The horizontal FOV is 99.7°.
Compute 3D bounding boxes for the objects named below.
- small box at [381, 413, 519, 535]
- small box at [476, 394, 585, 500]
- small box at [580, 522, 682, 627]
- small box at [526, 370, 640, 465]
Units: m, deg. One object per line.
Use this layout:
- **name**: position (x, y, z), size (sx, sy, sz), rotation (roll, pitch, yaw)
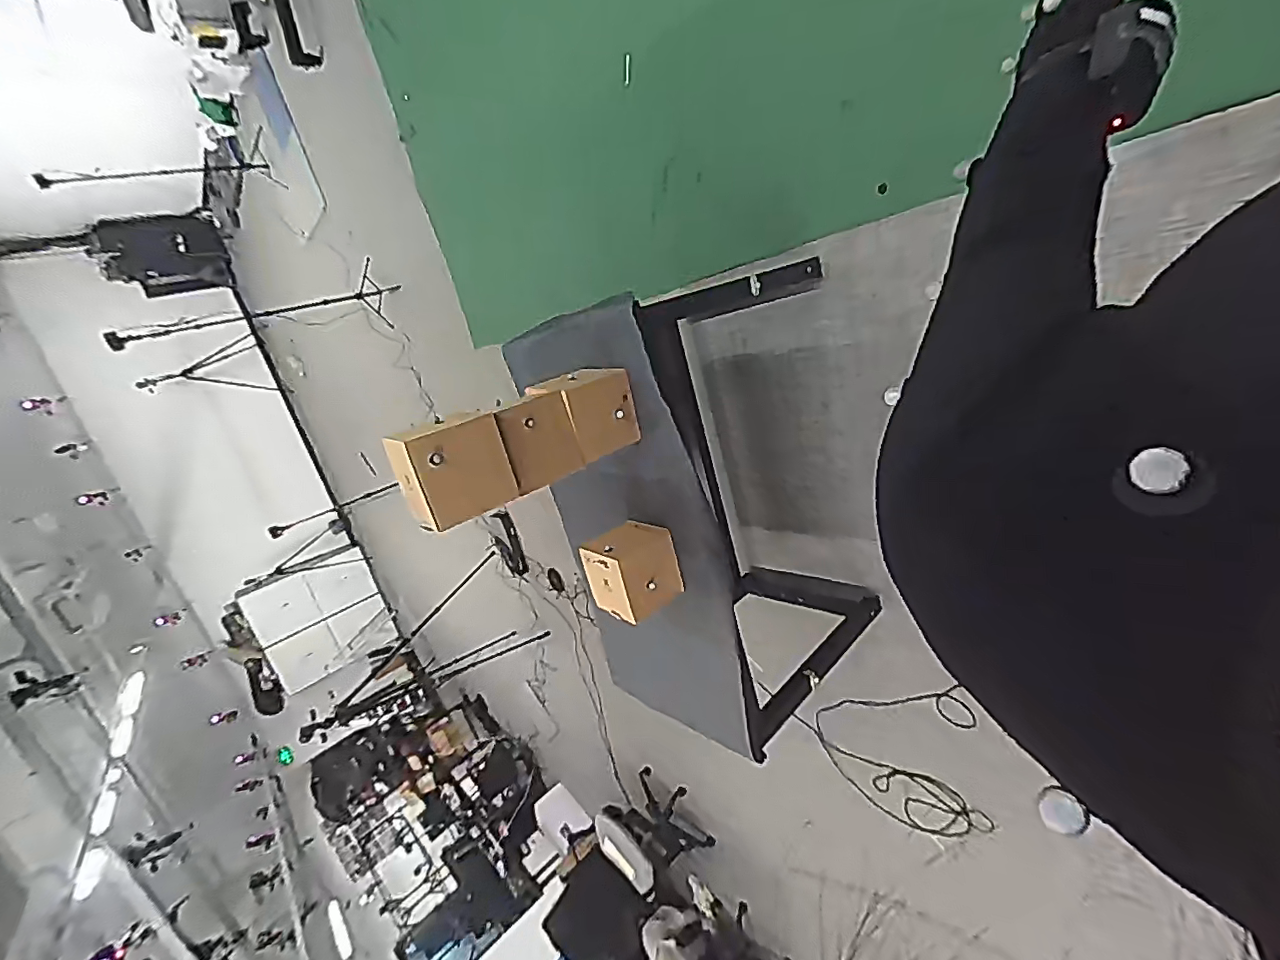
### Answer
- **small box**: position (-0.356, -0.022, 1.024), size (0.168, 0.176, 0.179), rotation (11, 121, 52)
- **small box**: position (-0.243, -0.074, 1.135), size (0.168, 0.176, 0.179), rotation (3, 116, 54)
- **small box**: position (-0.017, 0.226, 1.336), size (0.168, 0.176, 0.179), rotation (7, 119, 50)
- **small box**: position (-0.126, -0.146, 1.221), size (0.179, 0.176, 0.168), rotation (12, 123, 49)
